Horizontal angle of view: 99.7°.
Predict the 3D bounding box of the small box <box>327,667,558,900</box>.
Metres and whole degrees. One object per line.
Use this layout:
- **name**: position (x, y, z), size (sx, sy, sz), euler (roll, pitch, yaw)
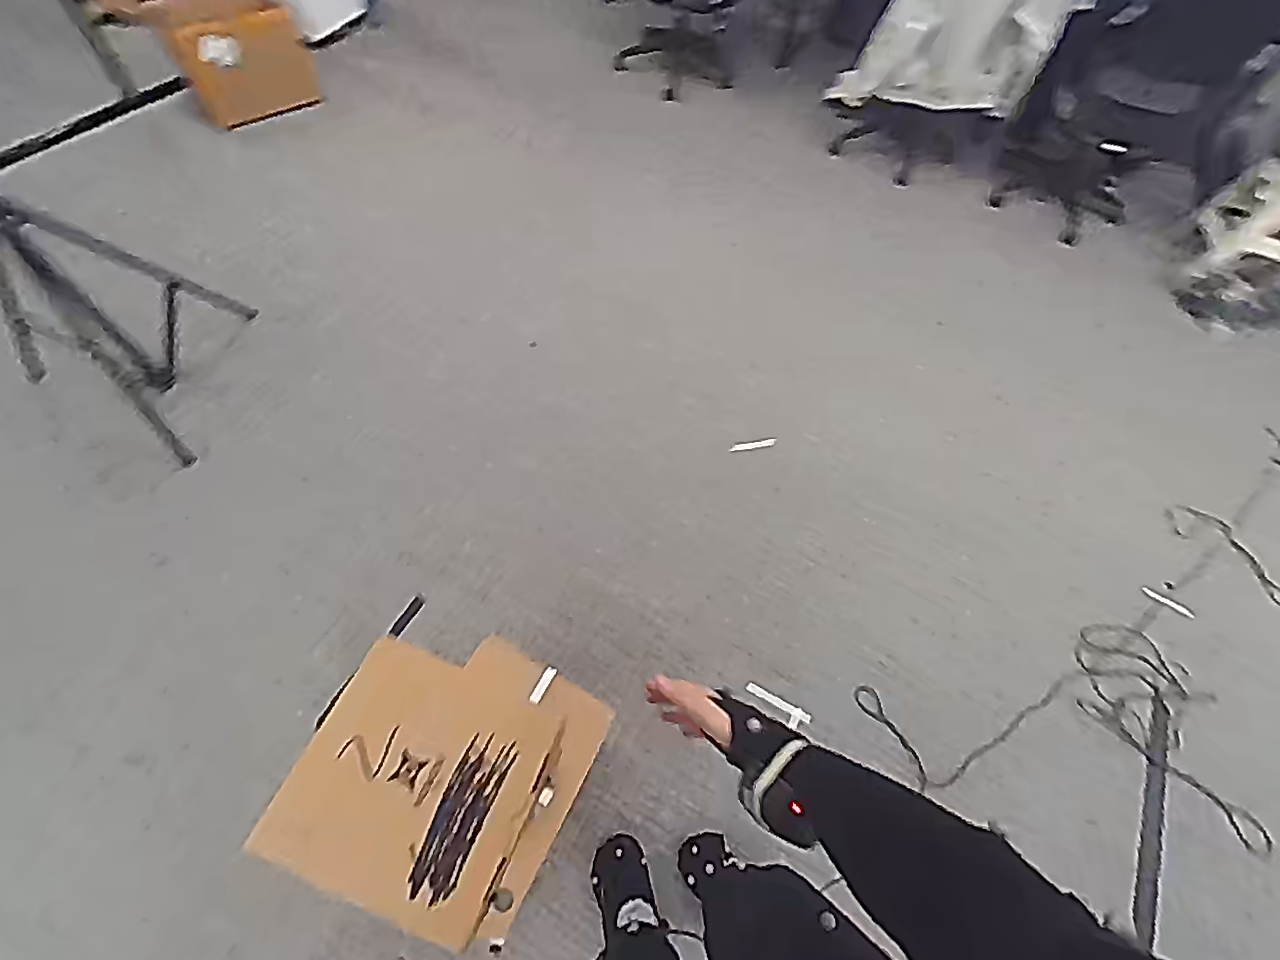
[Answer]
- **small box**: position (-0.207, 0.341, 0.626), size (0.179, 0.176, 0.168), euler (22, 59, 5)
